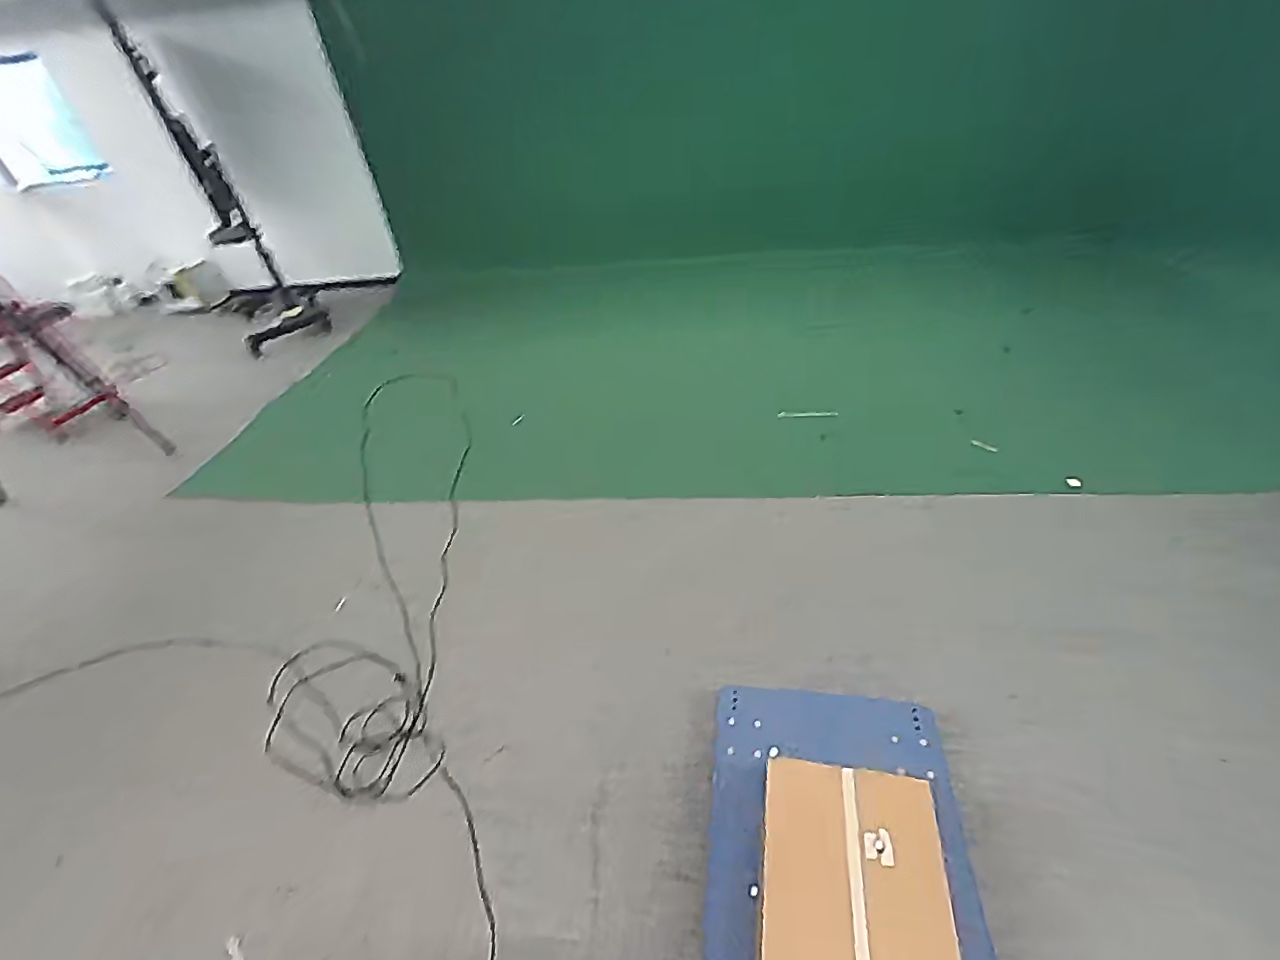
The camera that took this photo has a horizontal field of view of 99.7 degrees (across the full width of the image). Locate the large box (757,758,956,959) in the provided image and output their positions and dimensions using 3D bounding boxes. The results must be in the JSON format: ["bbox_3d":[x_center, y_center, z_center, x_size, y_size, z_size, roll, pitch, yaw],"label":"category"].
[{"bbox_3d":[0.388,0.832,1.050,0.320,0.320,0.408,3,40,12],"label":"large box"}]
